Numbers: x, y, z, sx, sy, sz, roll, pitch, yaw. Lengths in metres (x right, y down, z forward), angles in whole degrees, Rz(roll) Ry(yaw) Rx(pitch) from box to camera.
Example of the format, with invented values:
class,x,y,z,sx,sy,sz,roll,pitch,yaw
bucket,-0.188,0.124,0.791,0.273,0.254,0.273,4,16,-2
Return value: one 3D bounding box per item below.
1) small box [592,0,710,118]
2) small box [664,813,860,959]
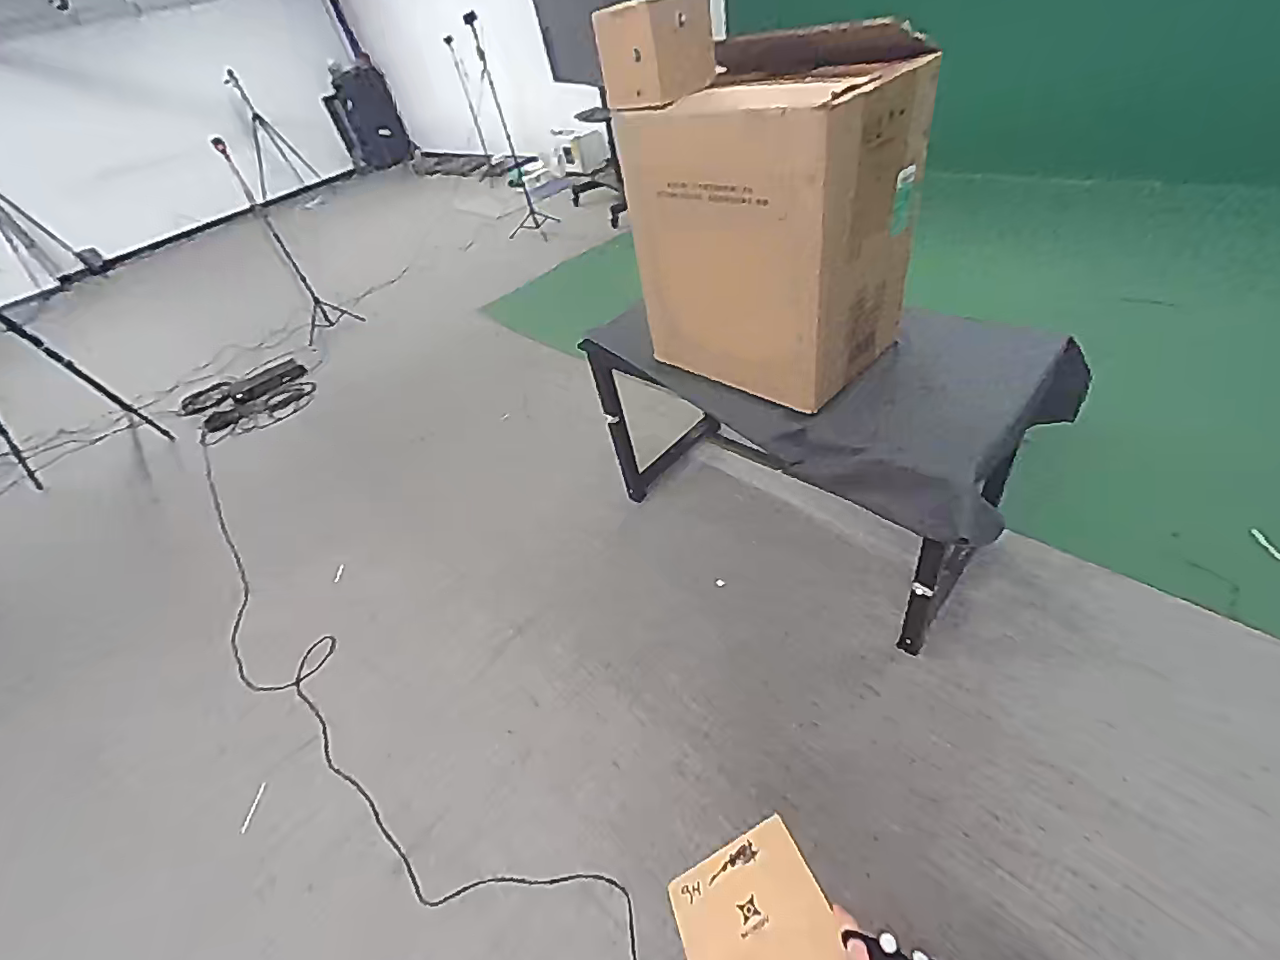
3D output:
class,x,y,z,sx,sy,sz,roll,pitch,yaw
small box,0.031,-0.877,1.135,0.179,0.176,0.168,-38,46,-24
small box,0.155,0.553,0.632,0.168,0.176,0.179,-31,20,-4
